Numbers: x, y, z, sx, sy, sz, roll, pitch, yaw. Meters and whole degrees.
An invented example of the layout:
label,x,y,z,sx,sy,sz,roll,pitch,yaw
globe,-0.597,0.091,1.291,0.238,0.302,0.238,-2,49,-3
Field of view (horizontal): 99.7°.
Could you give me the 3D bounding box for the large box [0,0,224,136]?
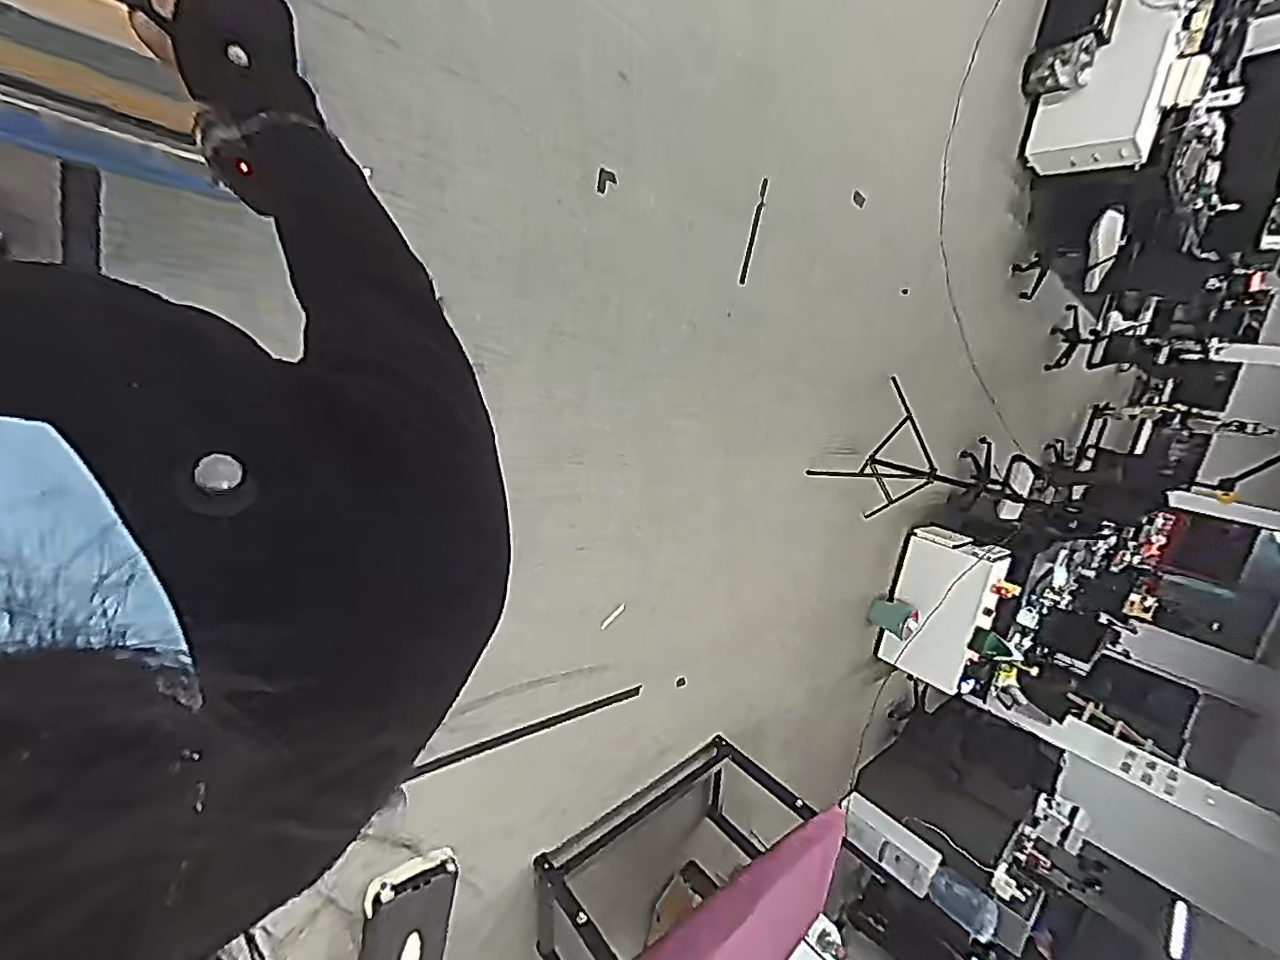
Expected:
label,x,y,z,sx,sy,sz,roll,pitch,yaw
large box,-0.779,-0.695,0.663,0.408,0.320,0.320,0,106,-44
